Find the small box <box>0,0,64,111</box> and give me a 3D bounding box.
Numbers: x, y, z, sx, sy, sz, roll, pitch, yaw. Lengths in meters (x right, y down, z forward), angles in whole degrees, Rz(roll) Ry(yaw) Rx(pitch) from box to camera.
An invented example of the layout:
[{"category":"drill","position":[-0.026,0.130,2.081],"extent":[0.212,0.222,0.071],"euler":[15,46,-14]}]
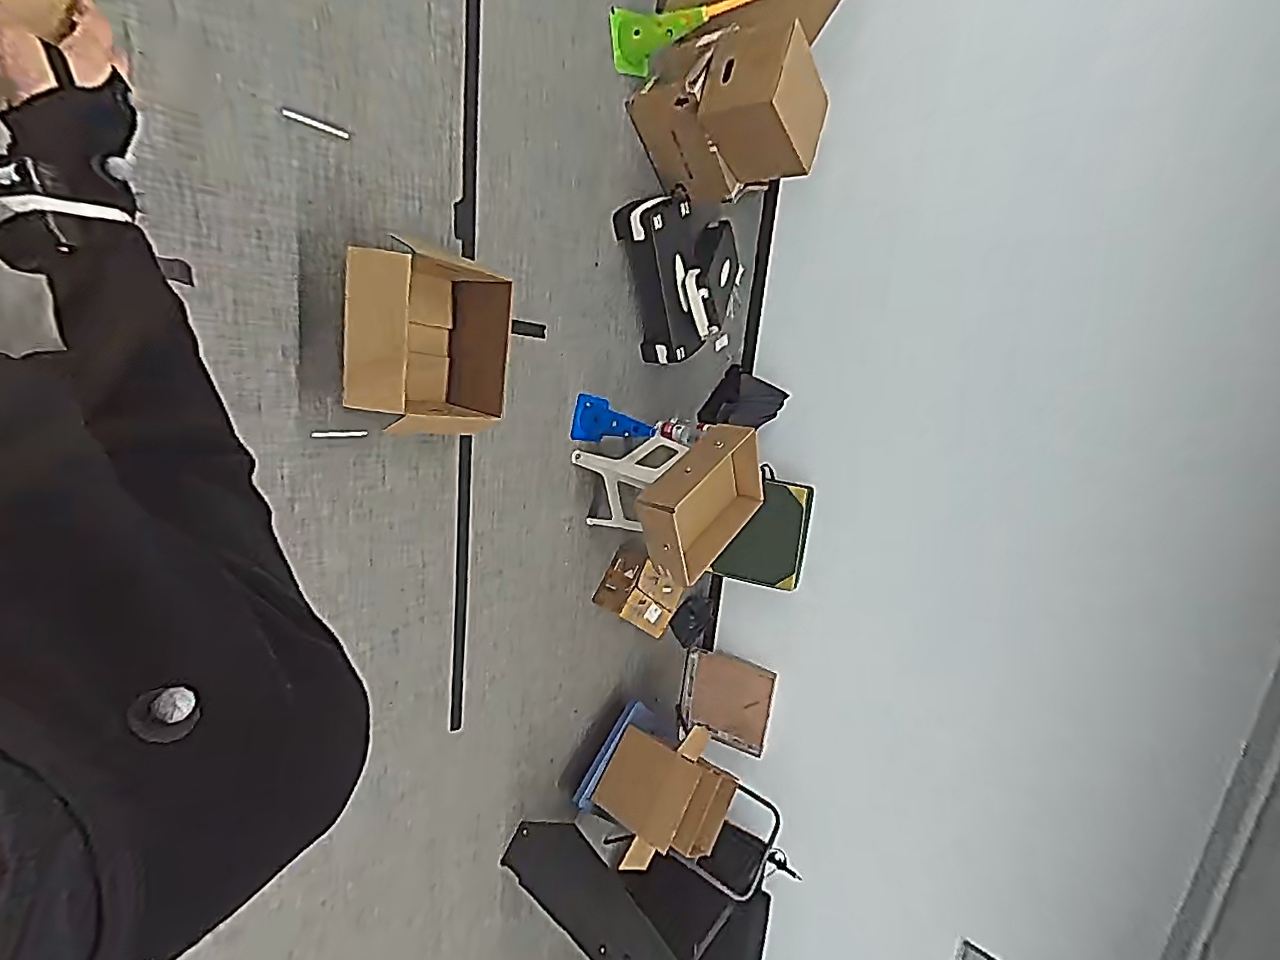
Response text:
[{"category":"small box","position":[-0.556,-0.426,0.403],"extent":[0.168,0.176,0.179],"euler":[14,88,-54]}]
